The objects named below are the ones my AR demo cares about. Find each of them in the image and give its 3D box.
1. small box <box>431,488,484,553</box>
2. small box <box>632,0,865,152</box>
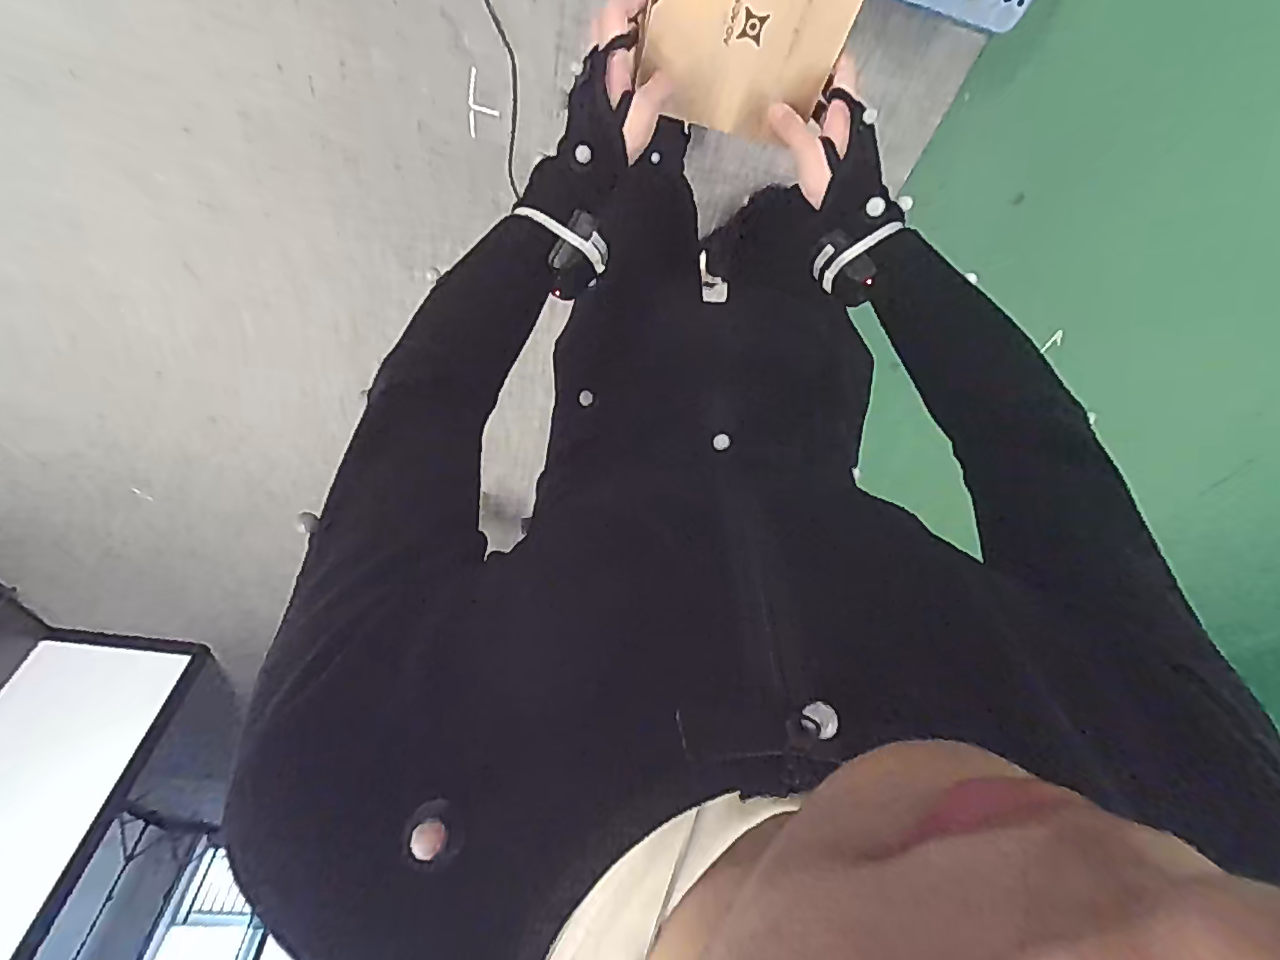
[{"bbox_3d":[-0.714,0.156,2.111,0.168,0.176,0.179,12,136,-11],"label":"small box"},{"bbox_3d":[0.094,-0.456,0.516,0.179,0.176,0.168,8,142,-13],"label":"small box"}]
